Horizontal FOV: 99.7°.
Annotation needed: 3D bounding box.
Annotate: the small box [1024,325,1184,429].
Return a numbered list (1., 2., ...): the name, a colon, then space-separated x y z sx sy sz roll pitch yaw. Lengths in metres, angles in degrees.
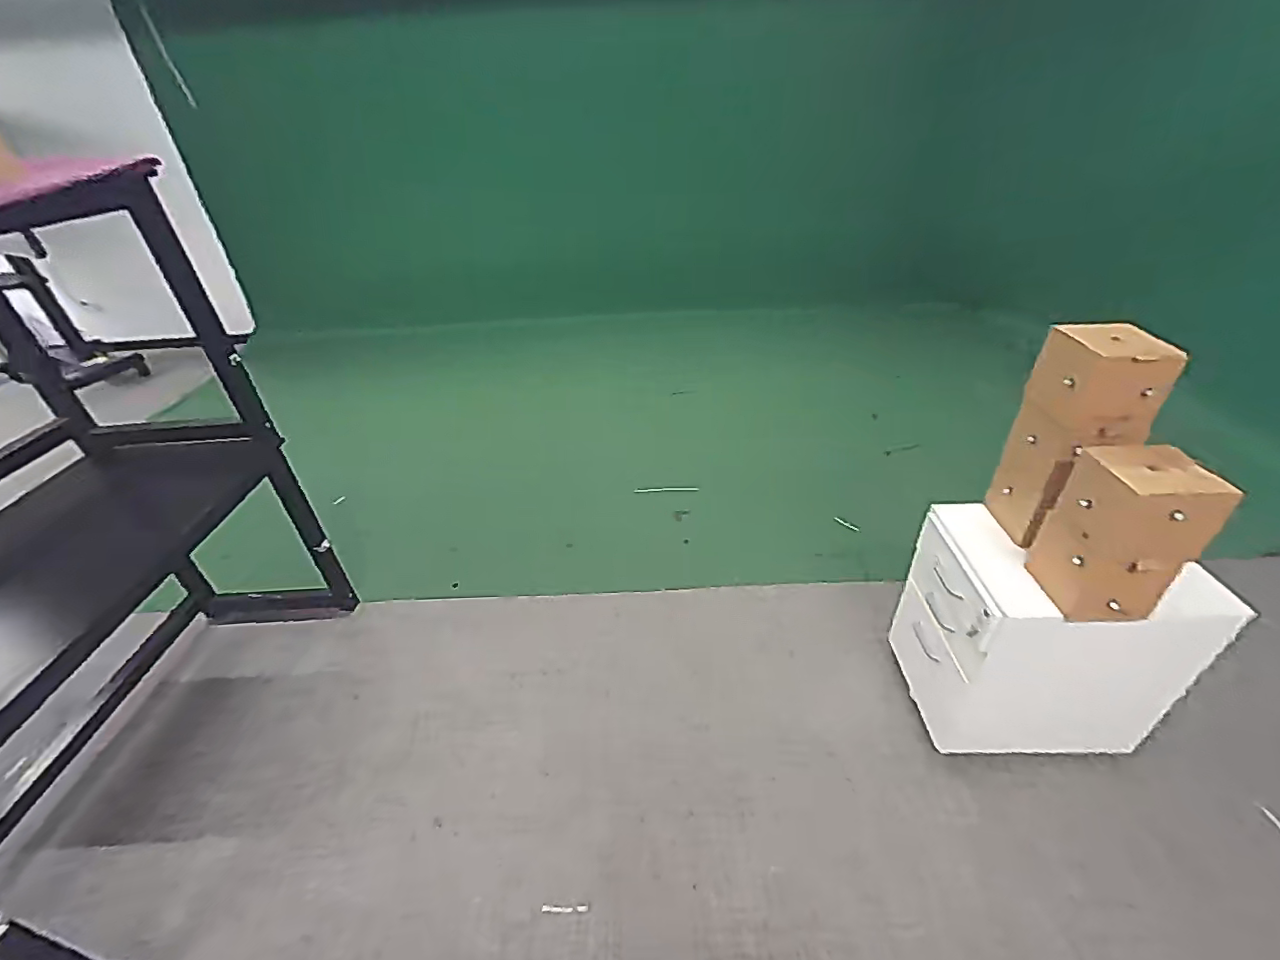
1. small box: 0.976 -0.219 1.158 0.168 0.176 0.179 0 35 2

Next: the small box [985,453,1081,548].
1. small box: 1.001 0.049 1.346 0.168 0.176 0.179 -2 37 2

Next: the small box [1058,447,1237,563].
1. small box: 0.971 0.049 1.062 0.179 0.176 0.168 0 35 3
